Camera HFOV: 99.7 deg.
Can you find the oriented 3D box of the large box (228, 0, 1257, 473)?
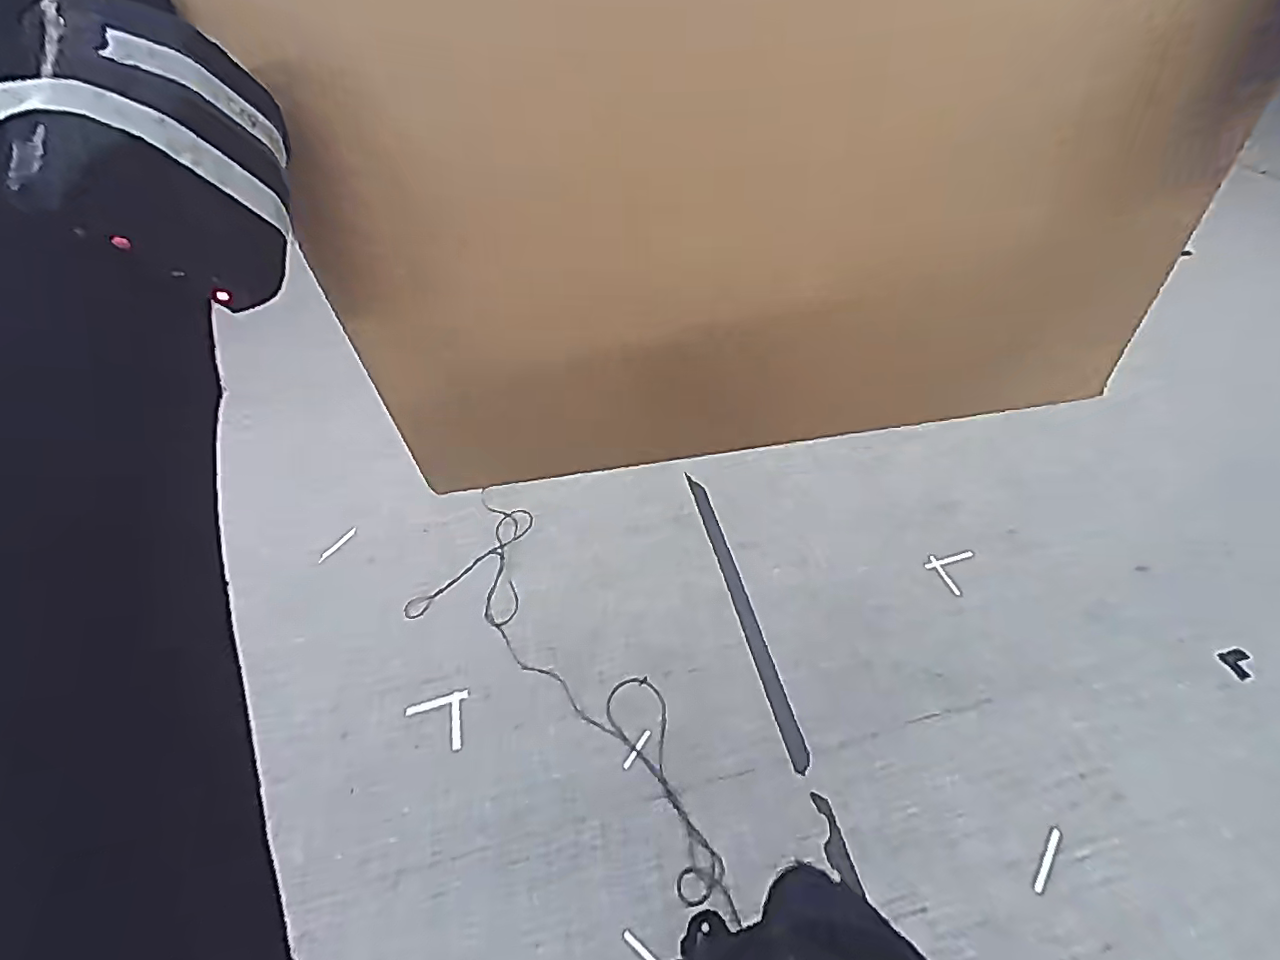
[{"bbox_3d":[0.042,-0.238,0.345,0.408,0.320,0.320,-8,44,-1],"label":"large box"}]
